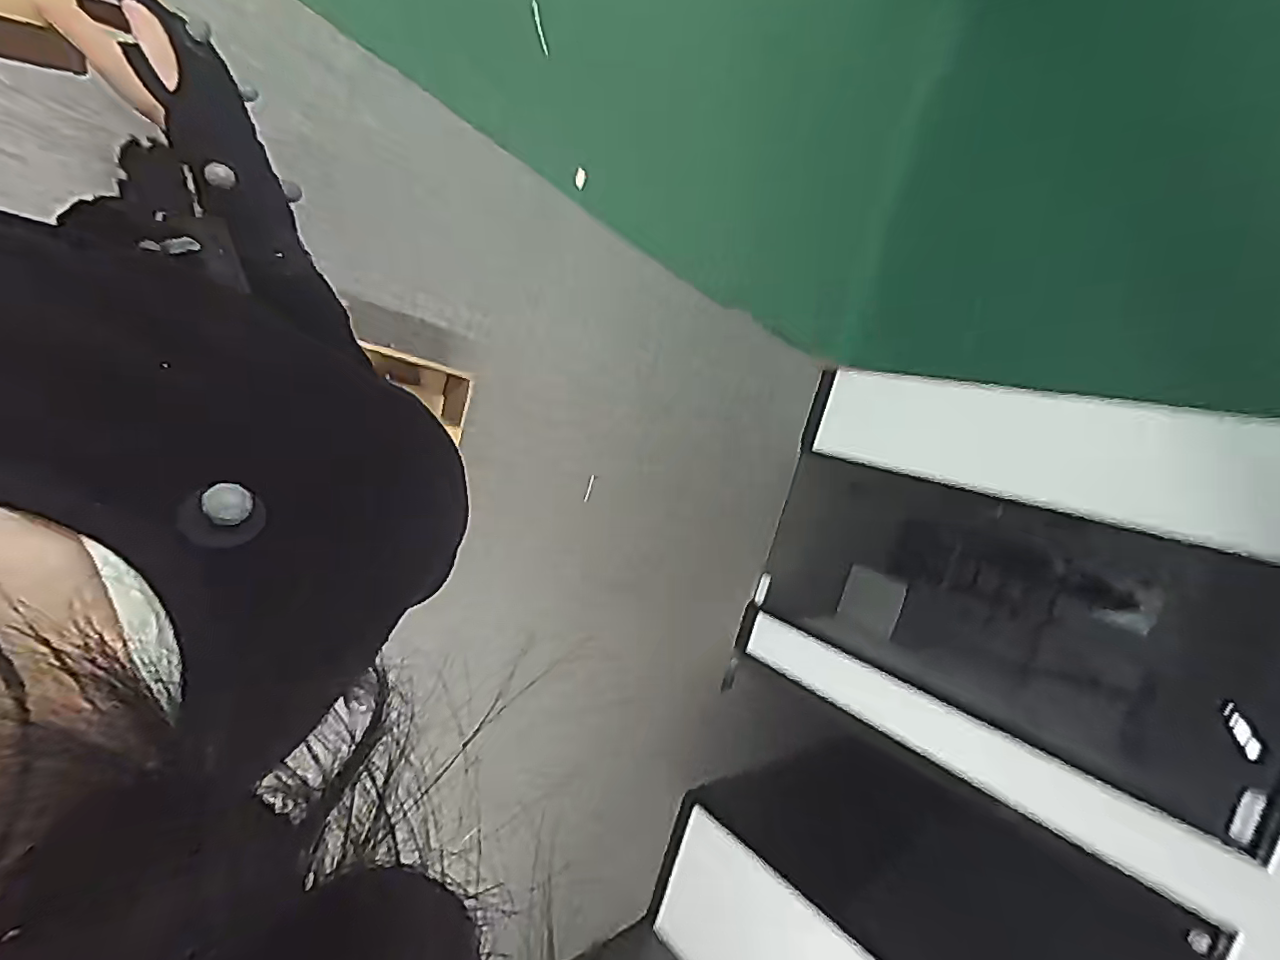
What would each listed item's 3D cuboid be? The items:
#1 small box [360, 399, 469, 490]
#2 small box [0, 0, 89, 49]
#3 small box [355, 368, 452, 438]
[{"bbox_3d":[-0.526,-0.084,1.248,0.179,0.176,0.168,6,104,-43],"label":"small box"},{"bbox_3d":[-0.453,-0.371,0.304,0.179,0.176,0.168,-15,121,-37],"label":"small box"},{"bbox_3d":[-0.604,-0.174,1.370,0.168,0.176,0.179,8,102,-43],"label":"small box"}]
